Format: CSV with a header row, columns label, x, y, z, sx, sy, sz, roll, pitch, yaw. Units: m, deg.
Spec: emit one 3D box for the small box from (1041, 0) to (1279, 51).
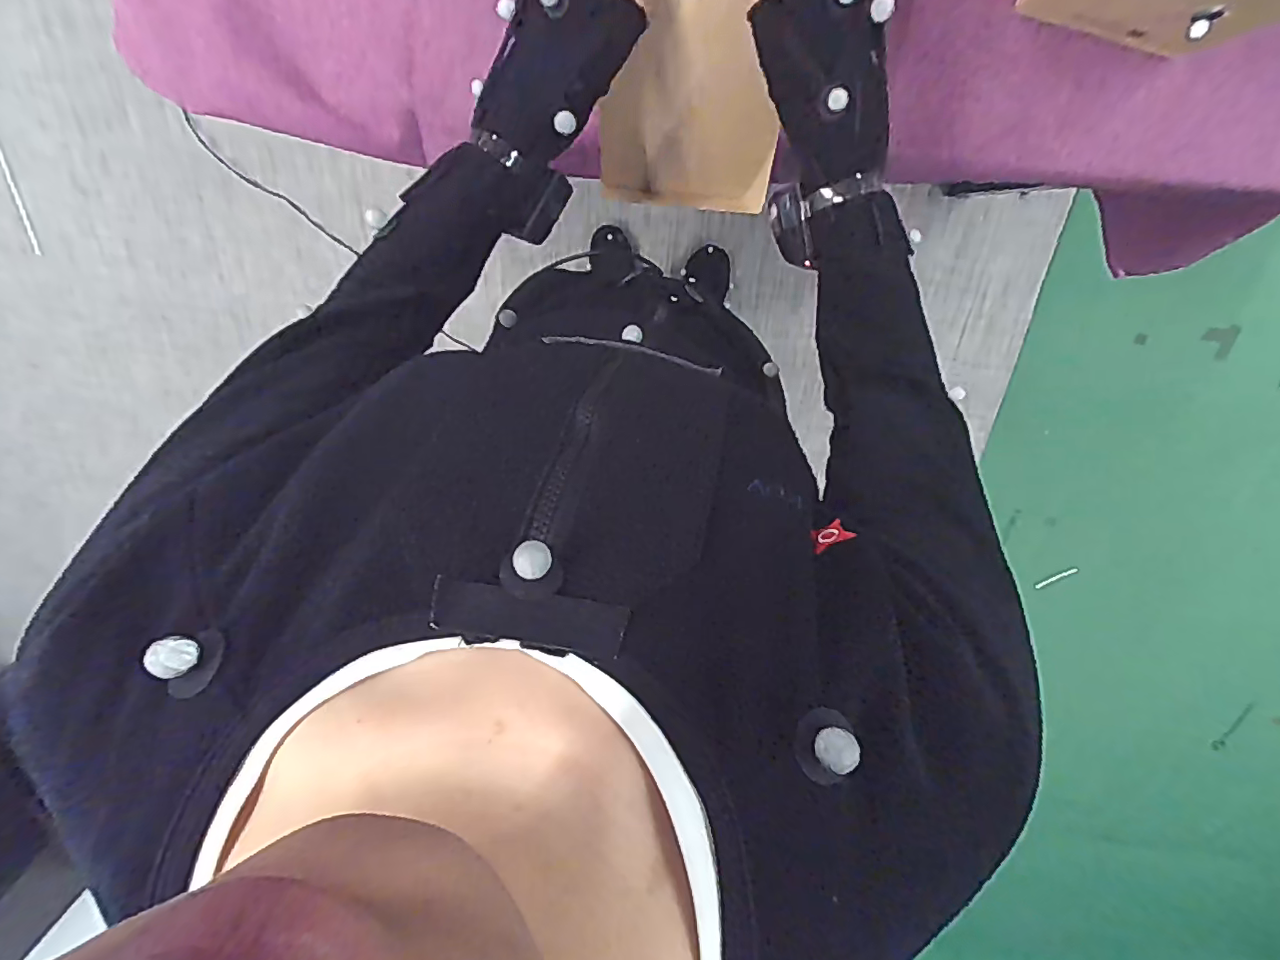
label,x,y,z,sx,sy,sz,roll,pitch,yaw
small box,0.445,-0.461,0.403,0.168,0.176,0.179,15,115,-3
